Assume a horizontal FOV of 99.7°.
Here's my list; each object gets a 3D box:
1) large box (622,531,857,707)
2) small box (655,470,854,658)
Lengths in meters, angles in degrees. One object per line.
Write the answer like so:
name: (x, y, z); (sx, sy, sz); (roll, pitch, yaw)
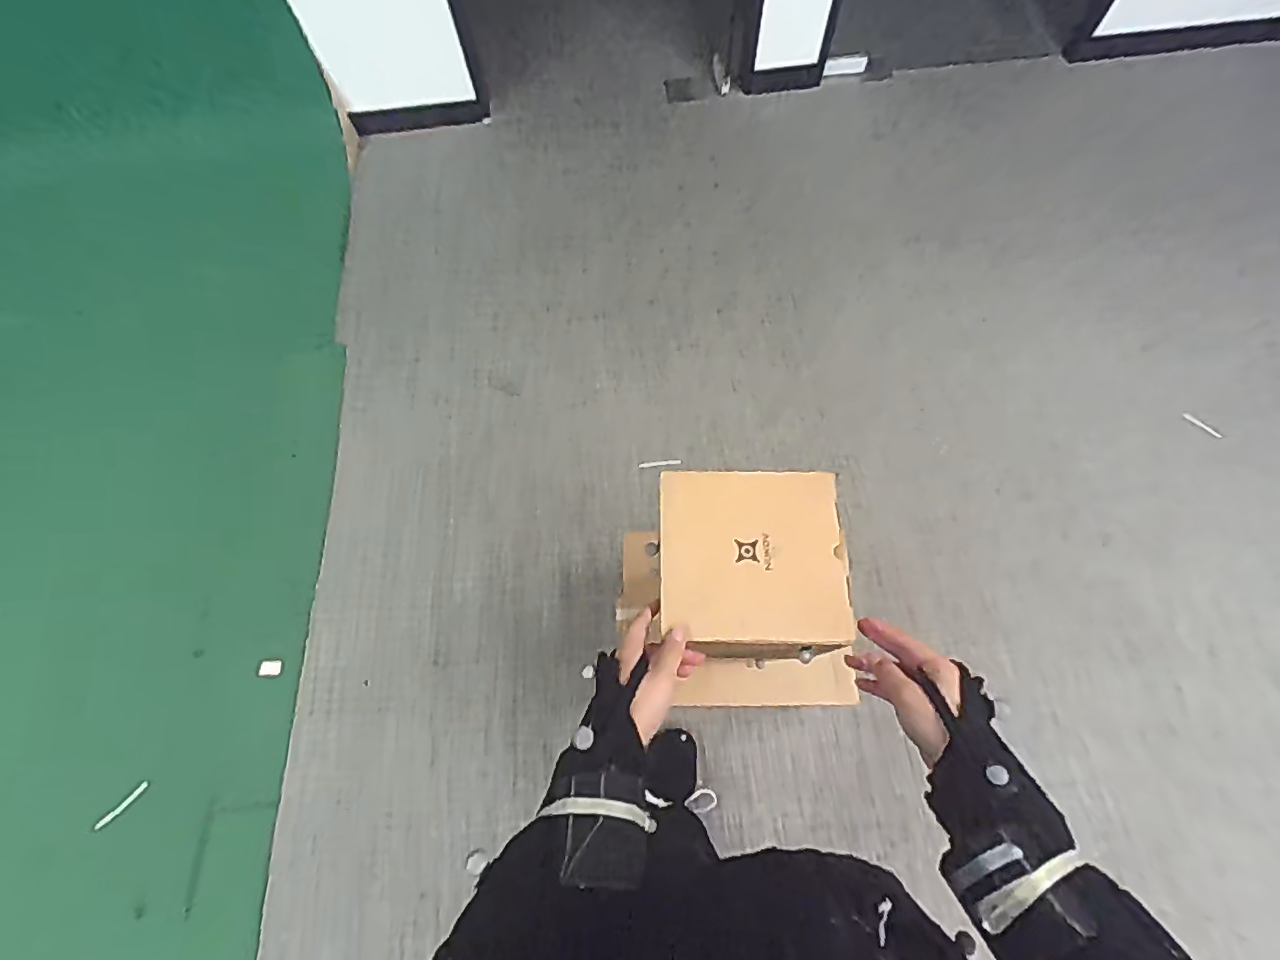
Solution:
large box: (0.170, 0.293, 1.113); (0.408, 0.320, 0.320); (-1, 68, 0)
small box: (0.104, 0.098, 0.579); (0.179, 0.176, 0.168); (0, 67, 0)
